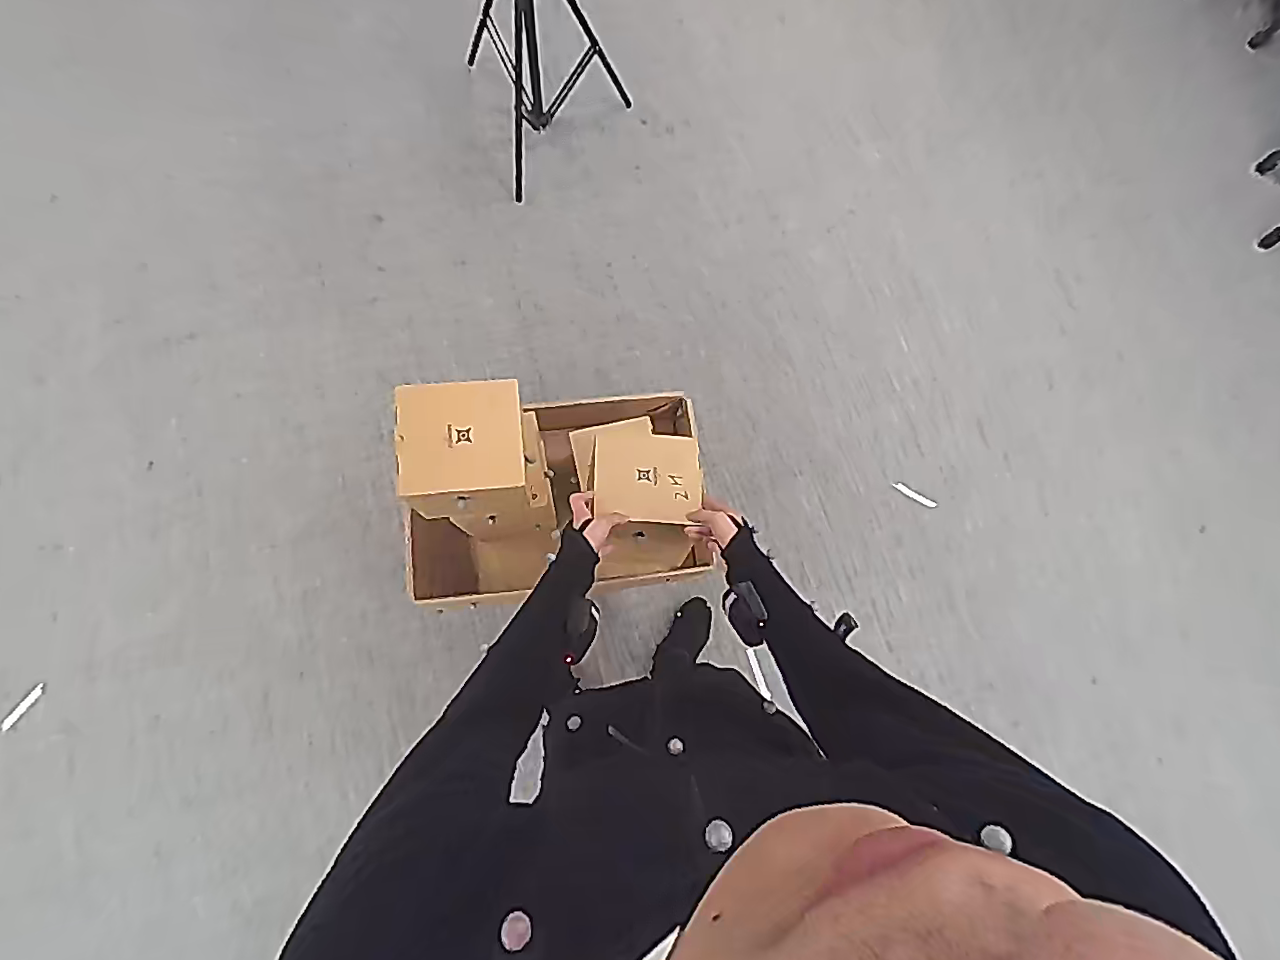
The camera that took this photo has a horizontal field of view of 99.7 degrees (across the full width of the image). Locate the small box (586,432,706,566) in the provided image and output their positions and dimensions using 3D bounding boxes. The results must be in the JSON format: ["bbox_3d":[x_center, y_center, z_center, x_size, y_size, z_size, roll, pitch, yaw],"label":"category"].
[{"bbox_3d":[0.002,0.038,0.918,0.179,0.176,0.168,5,58,-9],"label":"small box"}]

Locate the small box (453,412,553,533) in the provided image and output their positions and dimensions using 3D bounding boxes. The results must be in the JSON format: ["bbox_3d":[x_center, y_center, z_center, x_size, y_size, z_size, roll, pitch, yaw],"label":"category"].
[{"bbox_3d":[-0.256,-0.009,1.004,0.168,0.176,0.179,-8,77,-9],"label":"small box"}]

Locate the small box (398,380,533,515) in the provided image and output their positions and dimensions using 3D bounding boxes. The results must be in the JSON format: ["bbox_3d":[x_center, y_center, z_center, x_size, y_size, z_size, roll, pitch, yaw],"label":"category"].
[{"bbox_3d":[-0.261,-0.045,0.843,0.179,0.176,0.168,-6,77,-8],"label":"small box"}]
